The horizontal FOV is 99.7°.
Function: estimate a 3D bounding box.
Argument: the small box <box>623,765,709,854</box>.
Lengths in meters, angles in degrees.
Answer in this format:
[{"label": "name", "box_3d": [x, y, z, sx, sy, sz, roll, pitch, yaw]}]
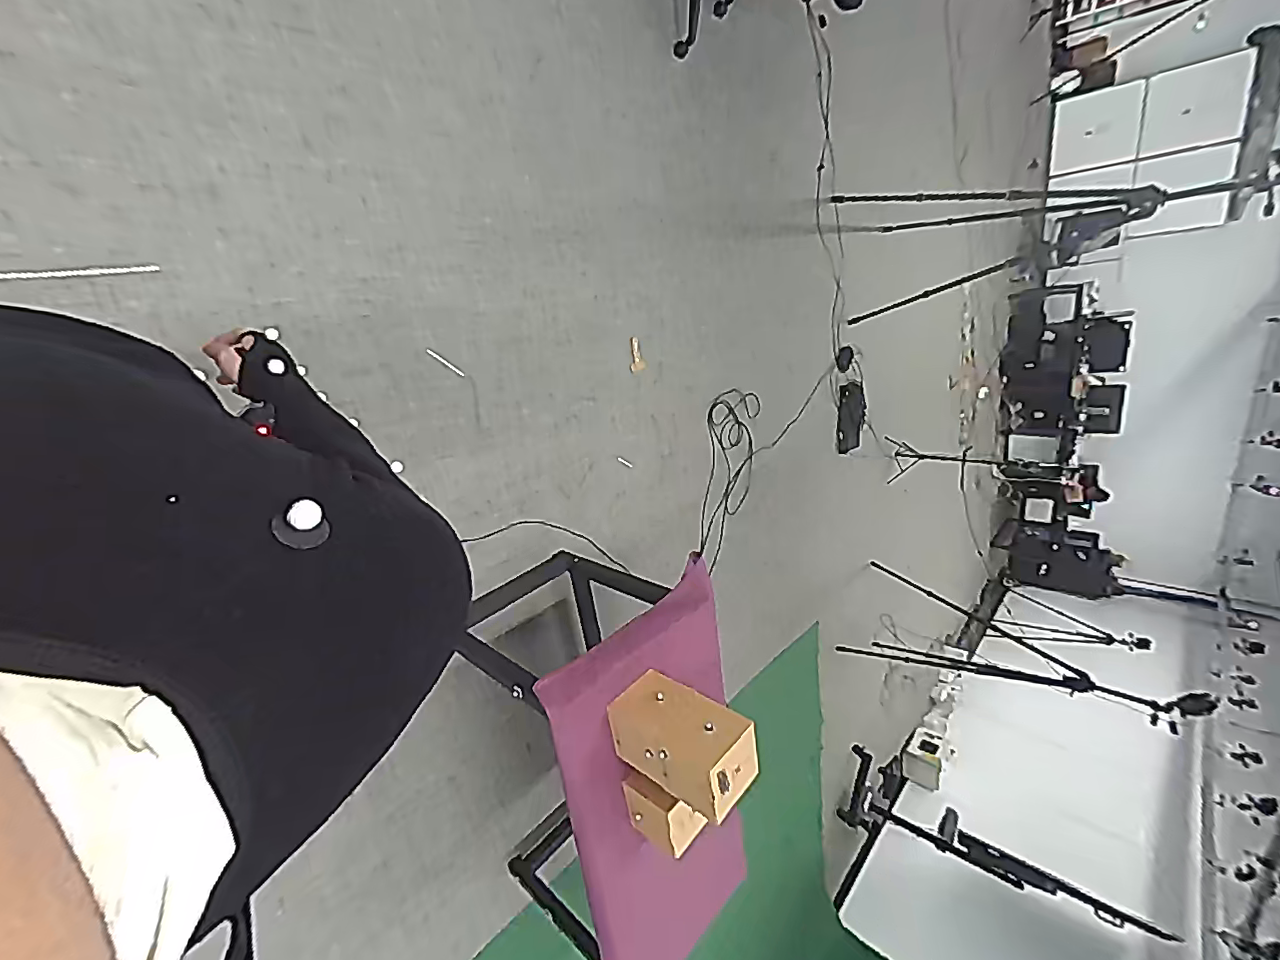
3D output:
[{"label": "small box", "box_3d": [0.078, 0.861, 1.490, 0.179, 0.176, 0.168, -27, 116, -40]}]

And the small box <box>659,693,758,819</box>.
[{"label": "small box", "box_3d": [0.159, 0.650, 1.294, 0.179, 0.176, 0.168, -27, 117, -41]}]

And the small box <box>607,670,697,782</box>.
[{"label": "small box", "box_3d": [0.040, 0.627, 1.406, 0.179, 0.176, 0.168, -28, 116, -41]}]
